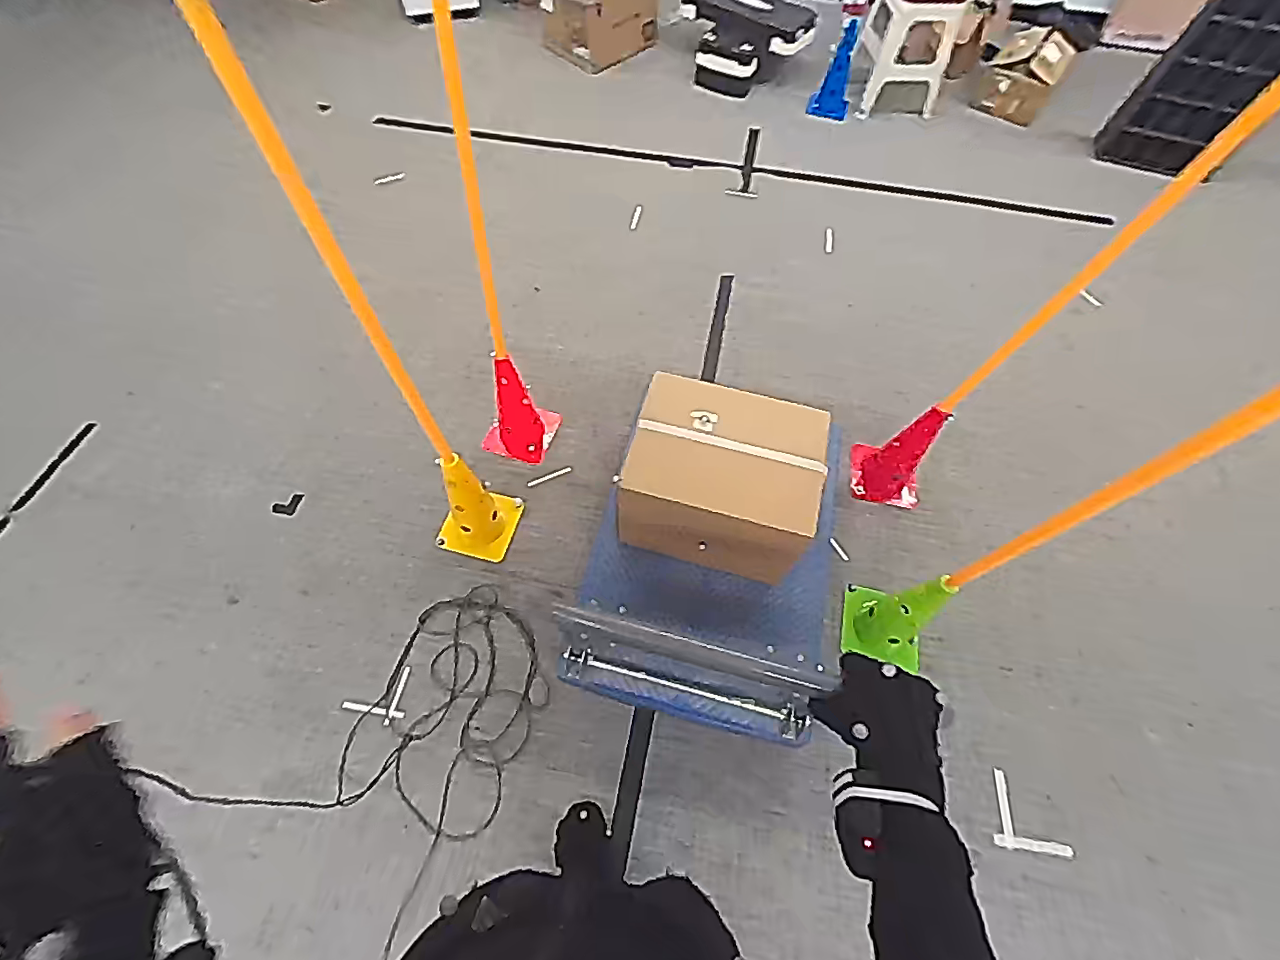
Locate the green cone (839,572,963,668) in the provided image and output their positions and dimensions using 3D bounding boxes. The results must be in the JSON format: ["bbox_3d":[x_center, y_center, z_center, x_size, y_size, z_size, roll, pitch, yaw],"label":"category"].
[{"bbox_3d":[0.647,0.301,1.297,0.202,0.368,0.200,15,62,5],"label":"green cone"}]

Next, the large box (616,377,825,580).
[{"bbox_3d":[0.181,0.007,1.279,0.408,0.320,0.320,15,62,7],"label":"large box"}]

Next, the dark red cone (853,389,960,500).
[{"bbox_3d":[0.764,-0.117,1.513,0.201,0.394,0.202,12,62,2],"label":"dark red cone"}]

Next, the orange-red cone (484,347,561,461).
[{"bbox_3d":[-0.361,-0.248,1.563,0.198,0.360,0.199,18,61,7],"label":"orange-red cone"}]
